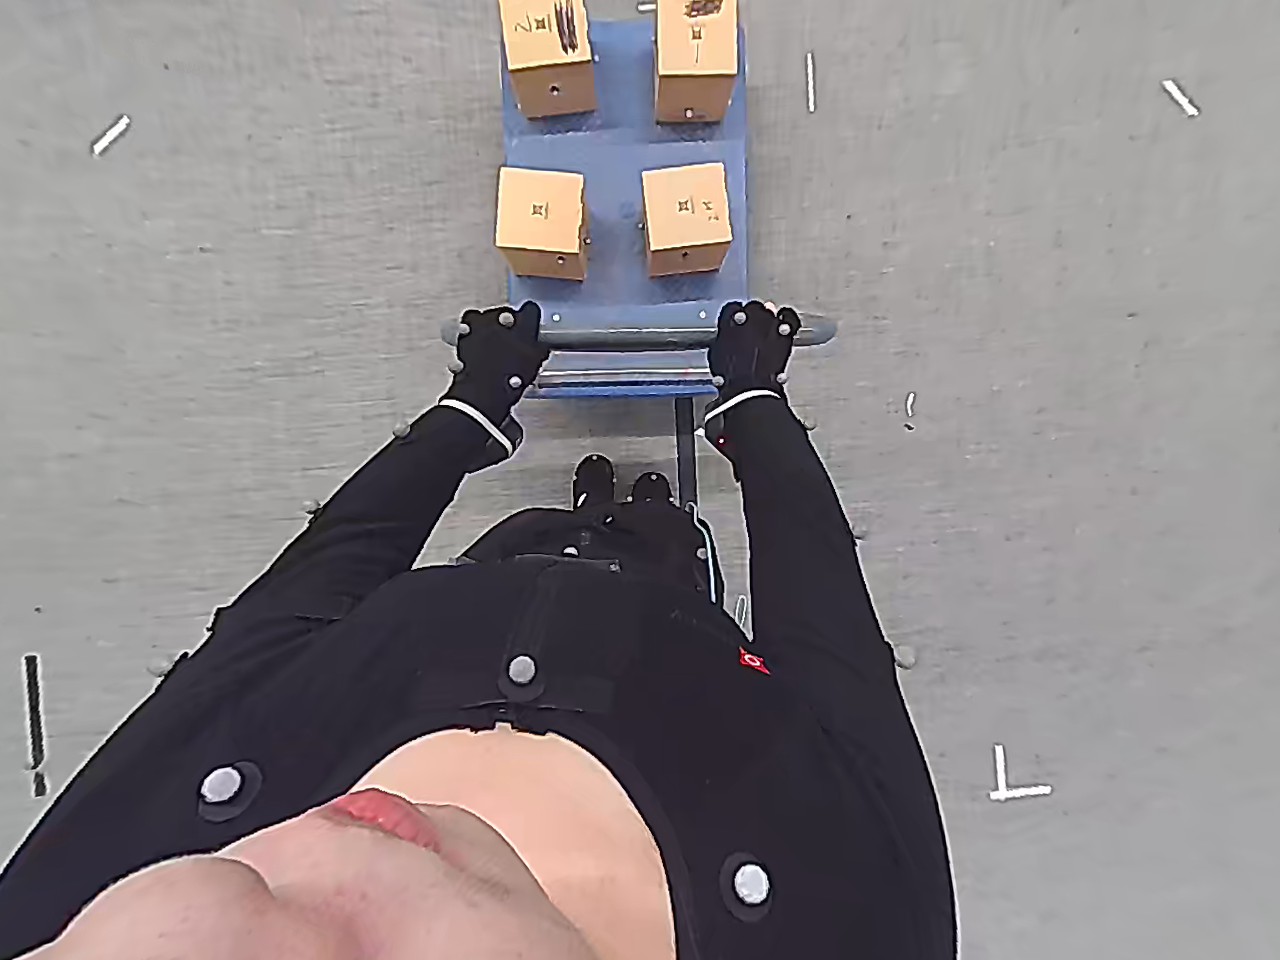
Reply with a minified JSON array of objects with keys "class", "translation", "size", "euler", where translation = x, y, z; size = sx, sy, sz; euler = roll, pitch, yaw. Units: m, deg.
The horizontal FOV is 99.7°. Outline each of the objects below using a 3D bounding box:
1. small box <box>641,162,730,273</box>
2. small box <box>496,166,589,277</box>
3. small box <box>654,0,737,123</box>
[{"class":"small box","translation":[0.096,-0.579,1.214],"size":[0.179,0.176,0.168],"euler":[-7,93,-1]},{"class":"small box","translation":[-0.211,-0.569,1.209],"size":[0.179,0.176,0.168],"euler":[4,92,-3]},{"class":"small box","translation":[0.117,-0.933,1.198],"size":[0.168,0.176,0.179],"euler":[-1,94,-1]}]
